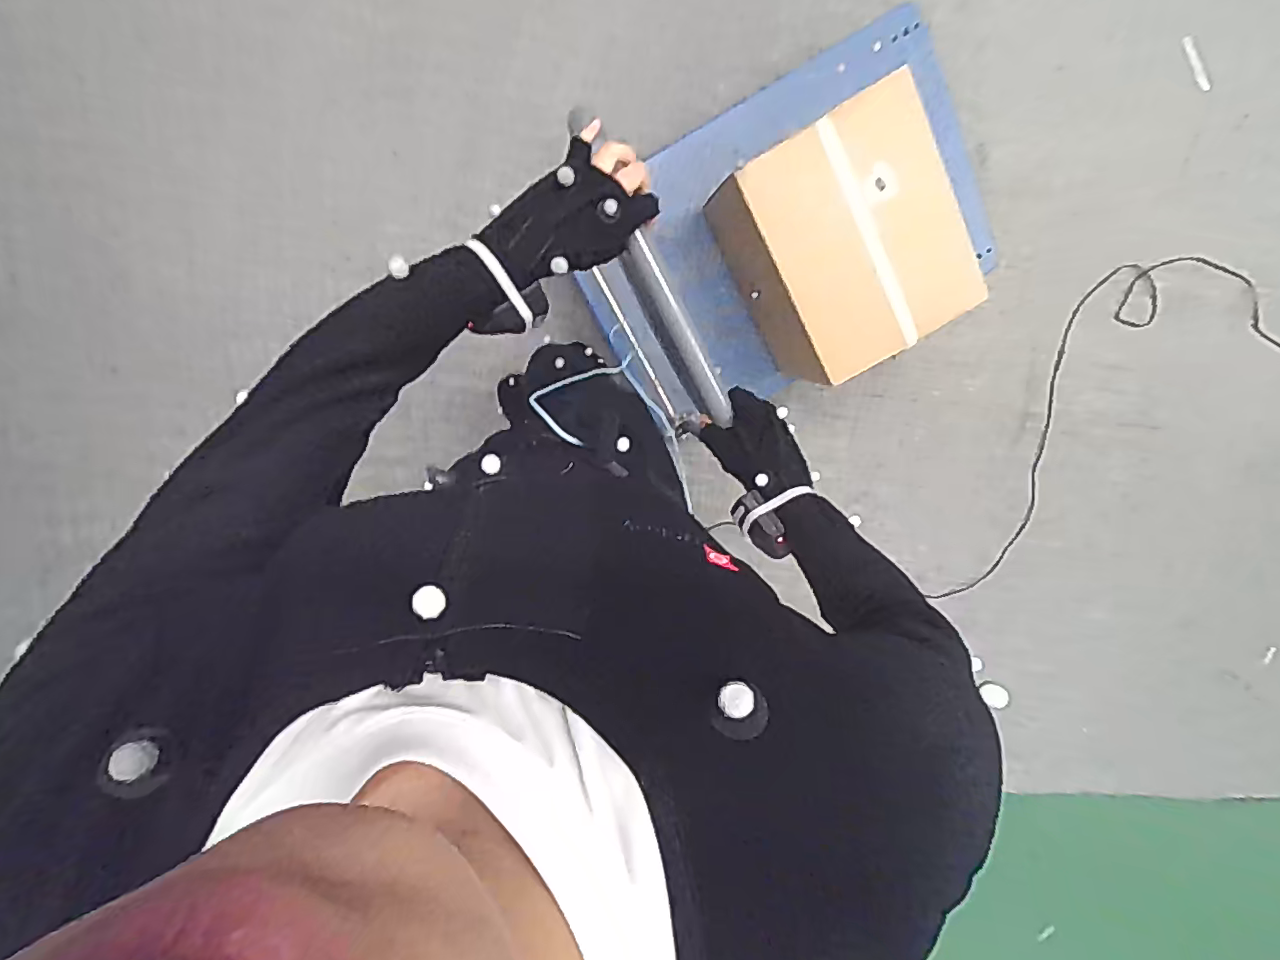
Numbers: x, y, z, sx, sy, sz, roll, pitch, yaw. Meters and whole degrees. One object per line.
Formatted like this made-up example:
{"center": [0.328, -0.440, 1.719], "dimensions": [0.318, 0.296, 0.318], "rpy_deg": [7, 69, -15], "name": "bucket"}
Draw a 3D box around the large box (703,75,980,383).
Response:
{"center": [0.368, -0.450, 1.067], "dimensions": [0.320, 0.320, 0.408], "rpy_deg": [-30, 104, 5], "name": "large box"}
